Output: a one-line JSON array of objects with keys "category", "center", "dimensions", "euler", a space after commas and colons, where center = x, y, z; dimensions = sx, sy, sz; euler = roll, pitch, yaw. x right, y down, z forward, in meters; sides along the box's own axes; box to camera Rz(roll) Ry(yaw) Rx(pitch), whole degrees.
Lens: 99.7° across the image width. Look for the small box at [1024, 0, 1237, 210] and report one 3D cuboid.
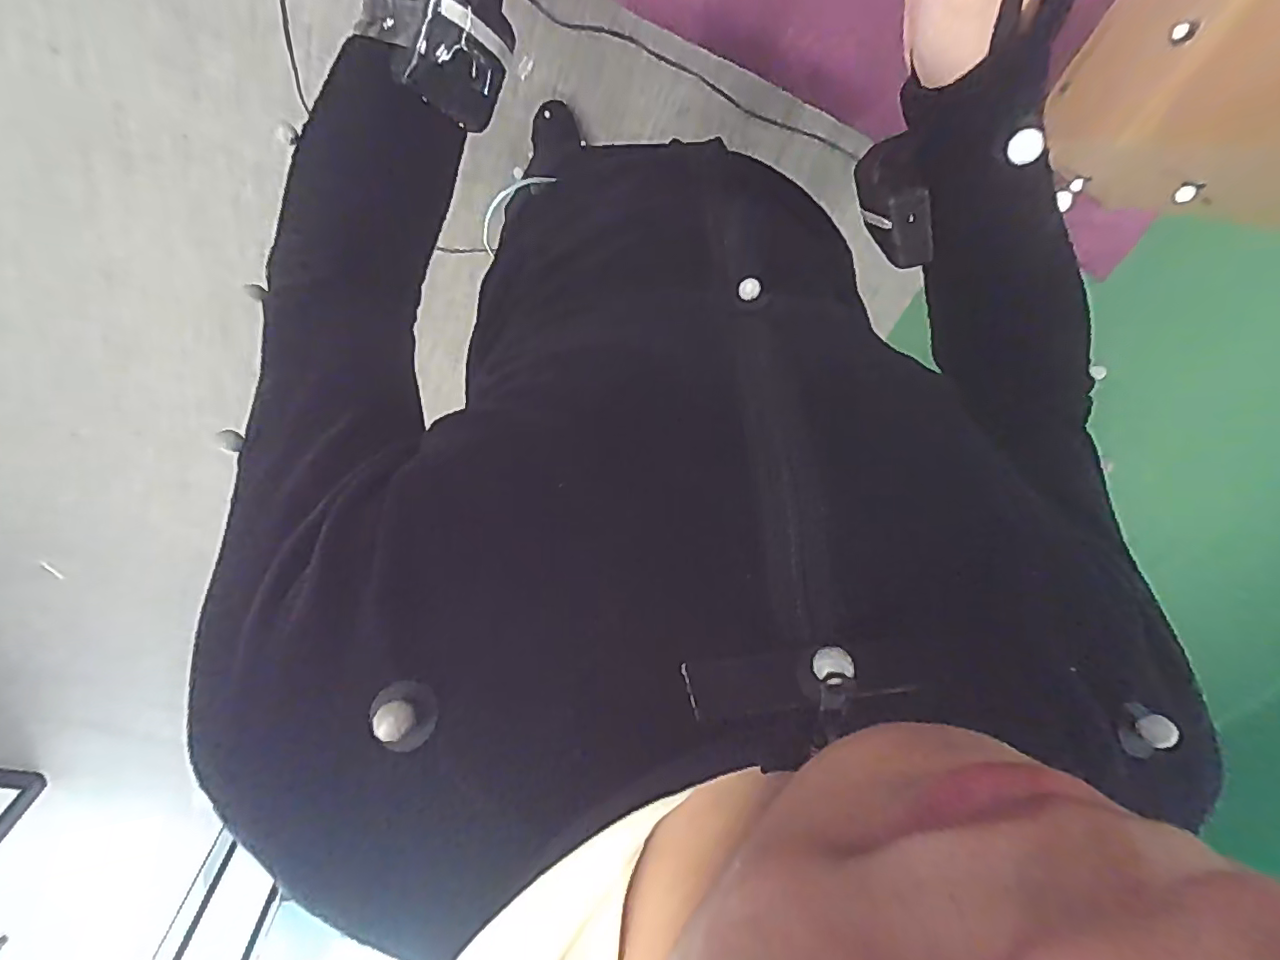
[{"category": "small box", "center": [0.597, -0.435, 0.606], "dimensions": [0.179, 0.176, 0.168], "euler": [20, 120, -17]}]
